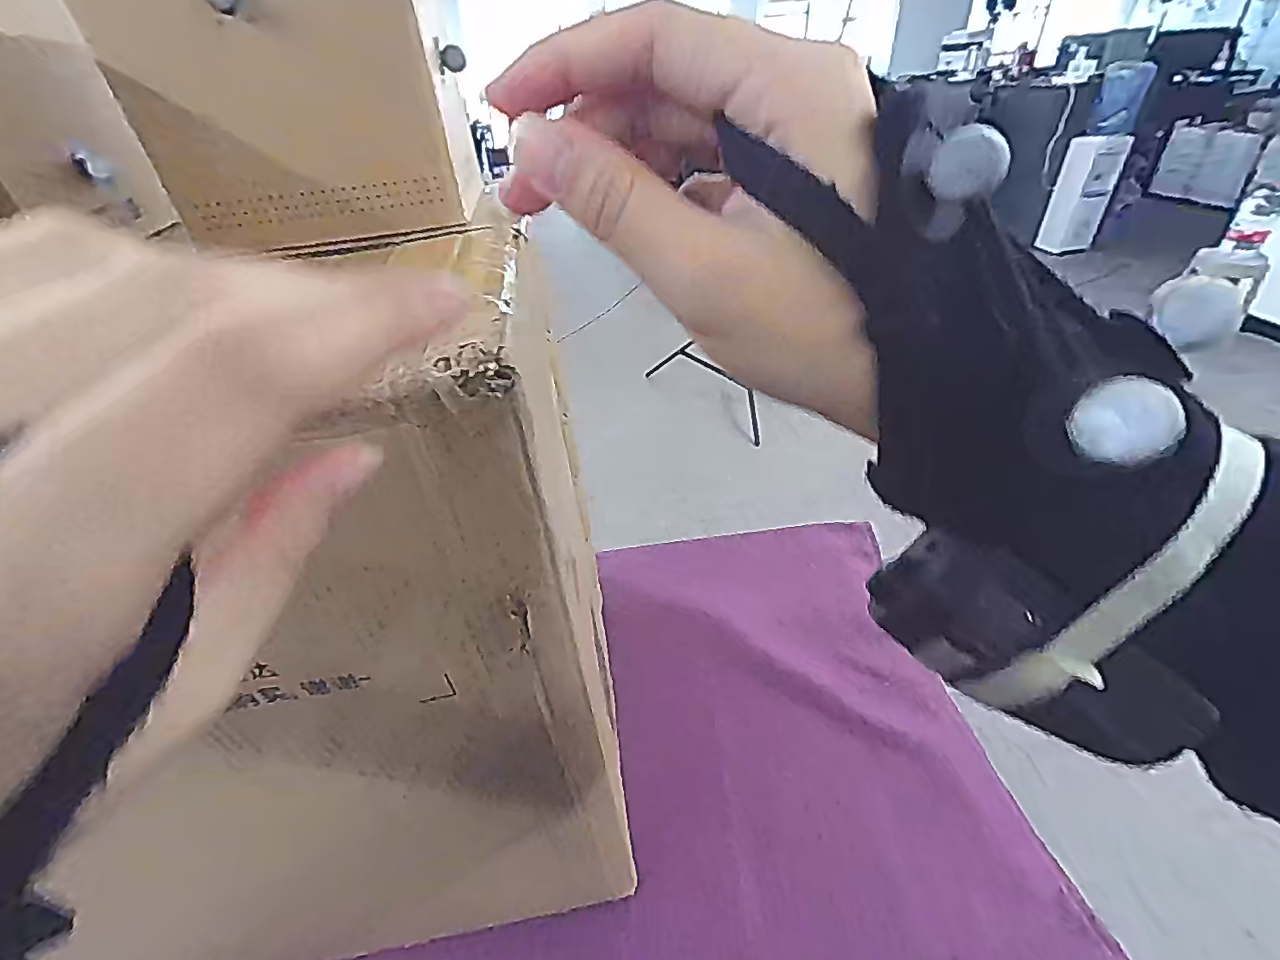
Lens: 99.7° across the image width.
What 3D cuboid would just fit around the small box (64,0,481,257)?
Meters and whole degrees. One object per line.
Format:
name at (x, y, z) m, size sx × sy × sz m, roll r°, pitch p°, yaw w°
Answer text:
small box at (-0.218, -0.269, 0.372) m, size 0.179 × 0.176 × 0.168 m, roll -10°, pitch 38°, yaw -4°
